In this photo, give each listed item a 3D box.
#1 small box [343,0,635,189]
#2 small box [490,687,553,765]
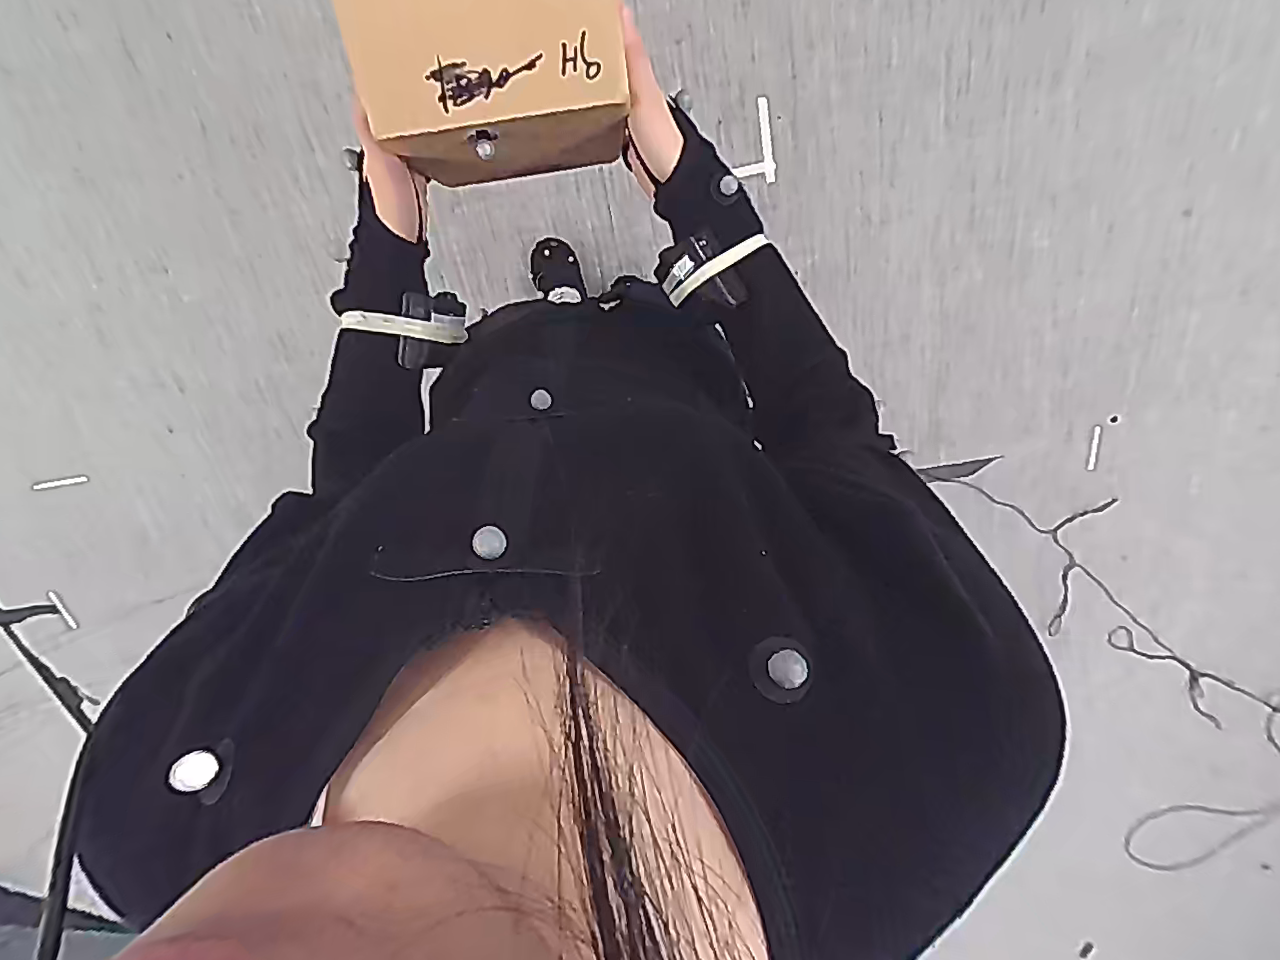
[{"bbox_3d":[-0.101,-0.330,0.387,0.168,0.176,0.179,-9,109,-2],"label":"small box"},{"bbox_3d":[-0.387,0.807,1.783,0.179,0.176,0.168,5,111,-7],"label":"small box"}]
